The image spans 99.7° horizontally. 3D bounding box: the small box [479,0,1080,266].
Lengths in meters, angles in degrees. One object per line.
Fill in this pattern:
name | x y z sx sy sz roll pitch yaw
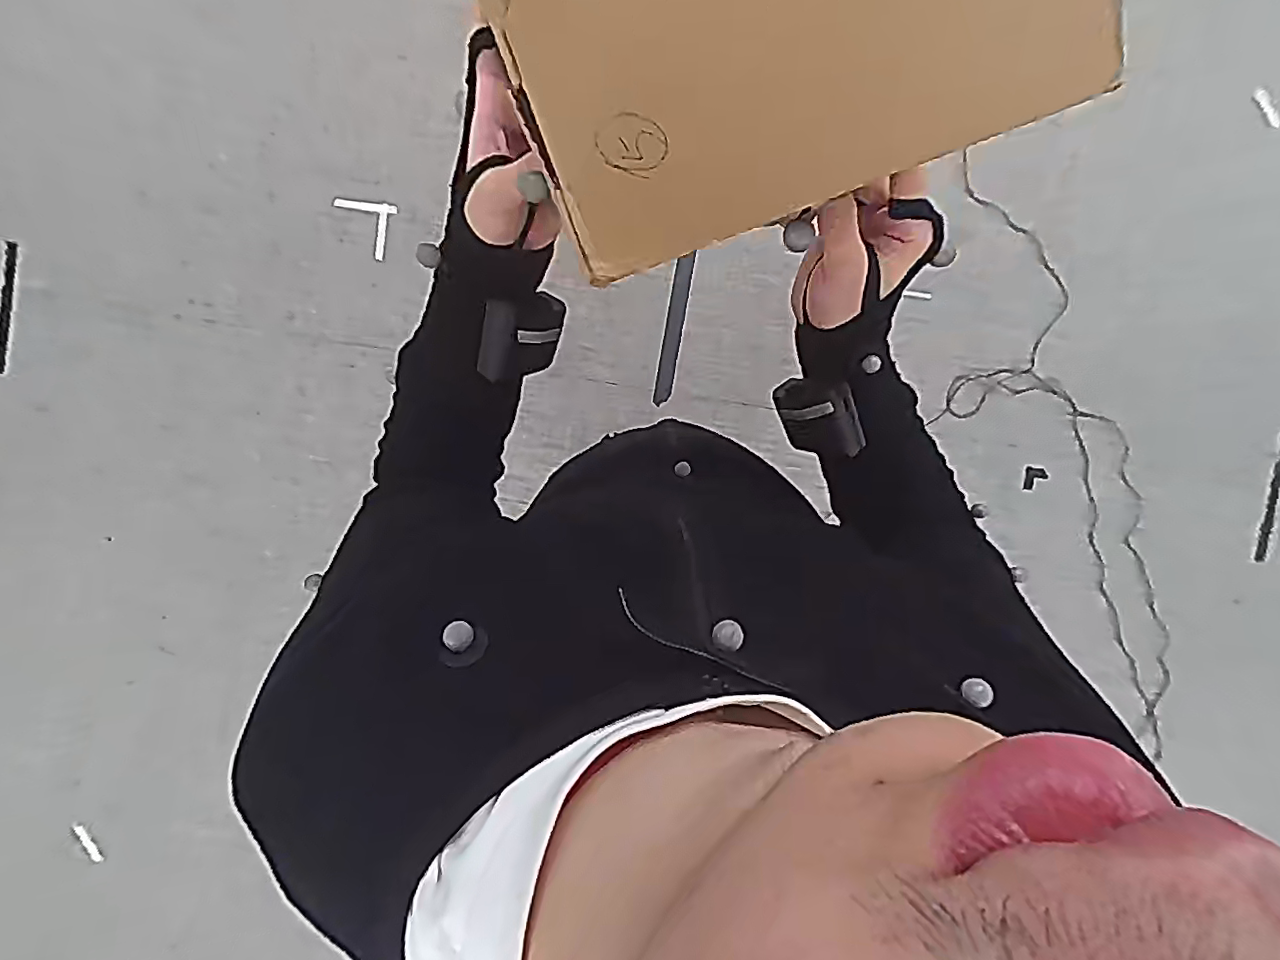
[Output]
small box | 0.030 -0.200 0.229 0.179 0.176 0.168 -20 111 4
